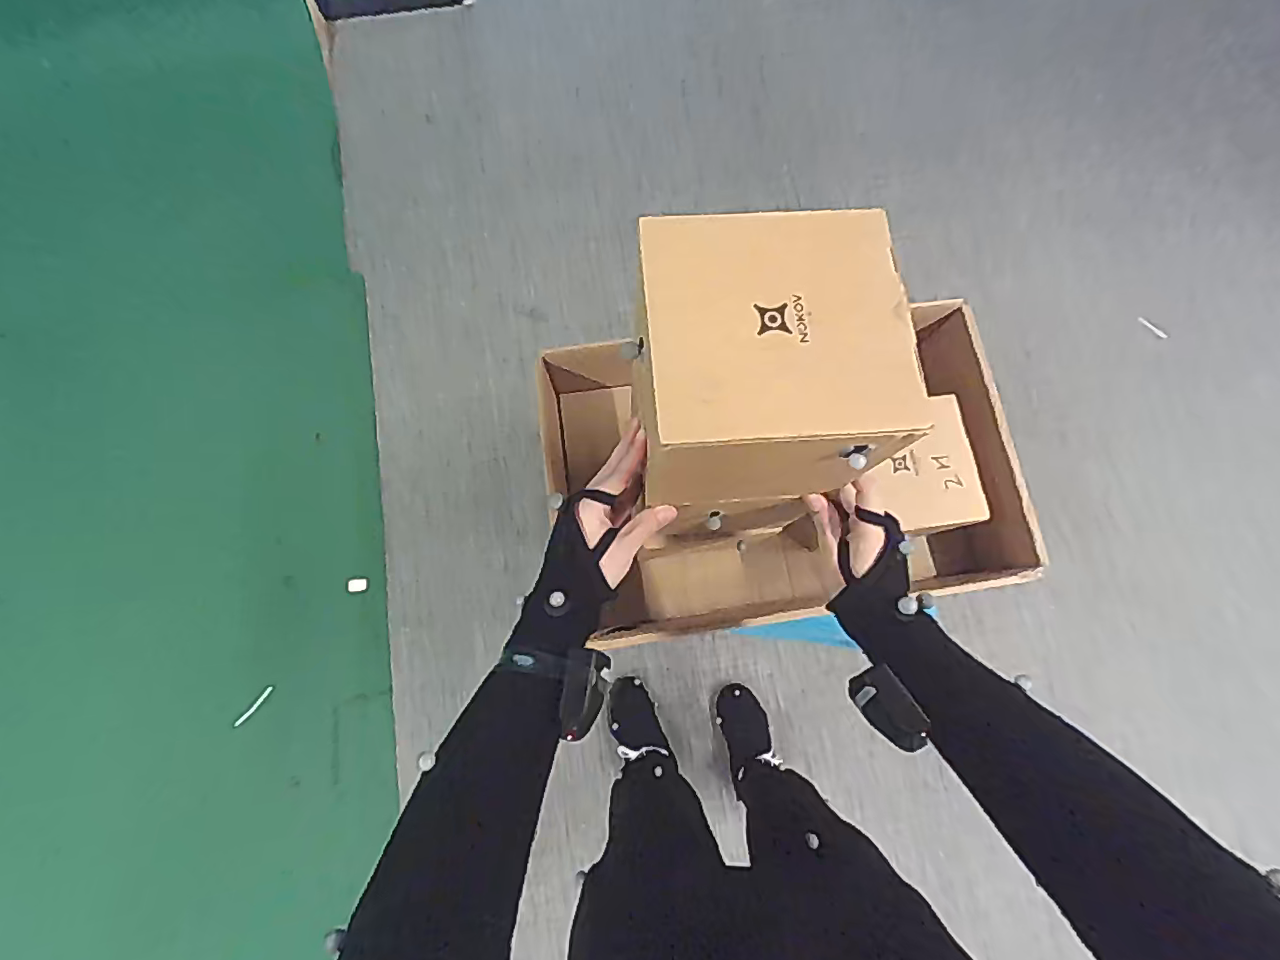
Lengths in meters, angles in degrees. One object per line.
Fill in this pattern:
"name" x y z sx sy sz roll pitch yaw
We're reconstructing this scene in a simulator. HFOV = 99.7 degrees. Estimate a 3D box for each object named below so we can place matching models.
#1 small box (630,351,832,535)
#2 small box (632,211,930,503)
"small box" 0.082 -0.038 0.584 0.179 0.176 0.168 -4 75 -2
"small box" 0.085 -0.082 0.427 0.179 0.176 0.168 -4 75 -4
